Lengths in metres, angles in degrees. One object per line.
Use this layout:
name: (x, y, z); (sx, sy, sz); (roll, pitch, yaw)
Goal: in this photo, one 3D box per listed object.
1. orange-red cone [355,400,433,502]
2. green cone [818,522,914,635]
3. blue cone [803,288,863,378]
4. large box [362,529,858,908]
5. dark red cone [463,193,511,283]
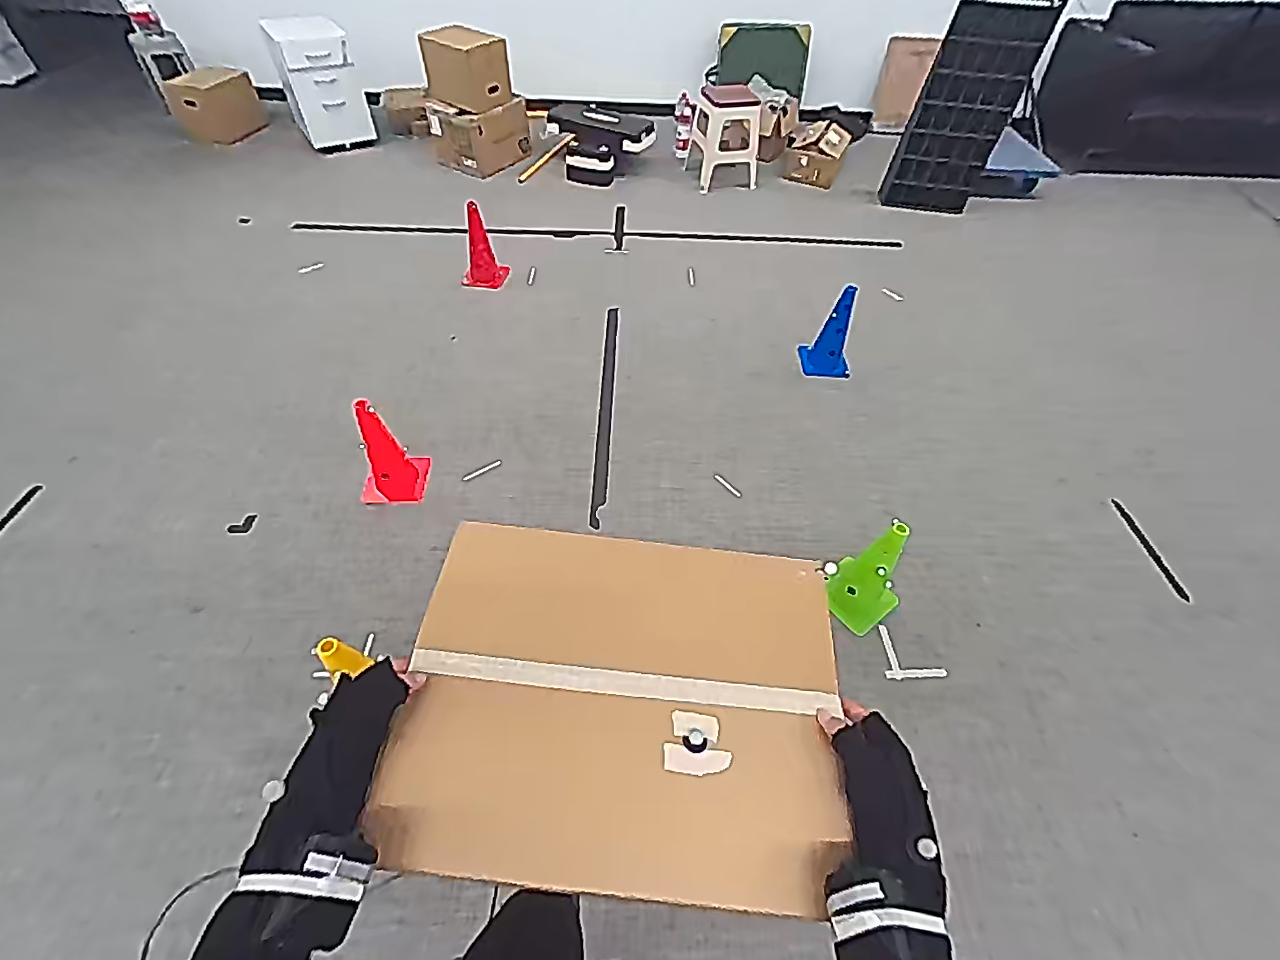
orange-red cone: (-0.818, -0.111, 1.720); (0.198, 0.360, 0.199); (-1, 52, -2)
green cone: (0.664, 0.240, 1.503); (0.202, 0.368, 0.200); (-29, 58, -25)
blue cone: (0.822, -0.614, 2.230); (0.192, 0.380, 0.193); (5, 51, 0)
large box: (-0.023, 0.286, 0.632); (0.408, 0.320, 0.320); (7, 53, 0)
dark red cone: (-0.739, -1.129, 2.524); (0.201, 0.394, 0.202); (7, 51, 1)
